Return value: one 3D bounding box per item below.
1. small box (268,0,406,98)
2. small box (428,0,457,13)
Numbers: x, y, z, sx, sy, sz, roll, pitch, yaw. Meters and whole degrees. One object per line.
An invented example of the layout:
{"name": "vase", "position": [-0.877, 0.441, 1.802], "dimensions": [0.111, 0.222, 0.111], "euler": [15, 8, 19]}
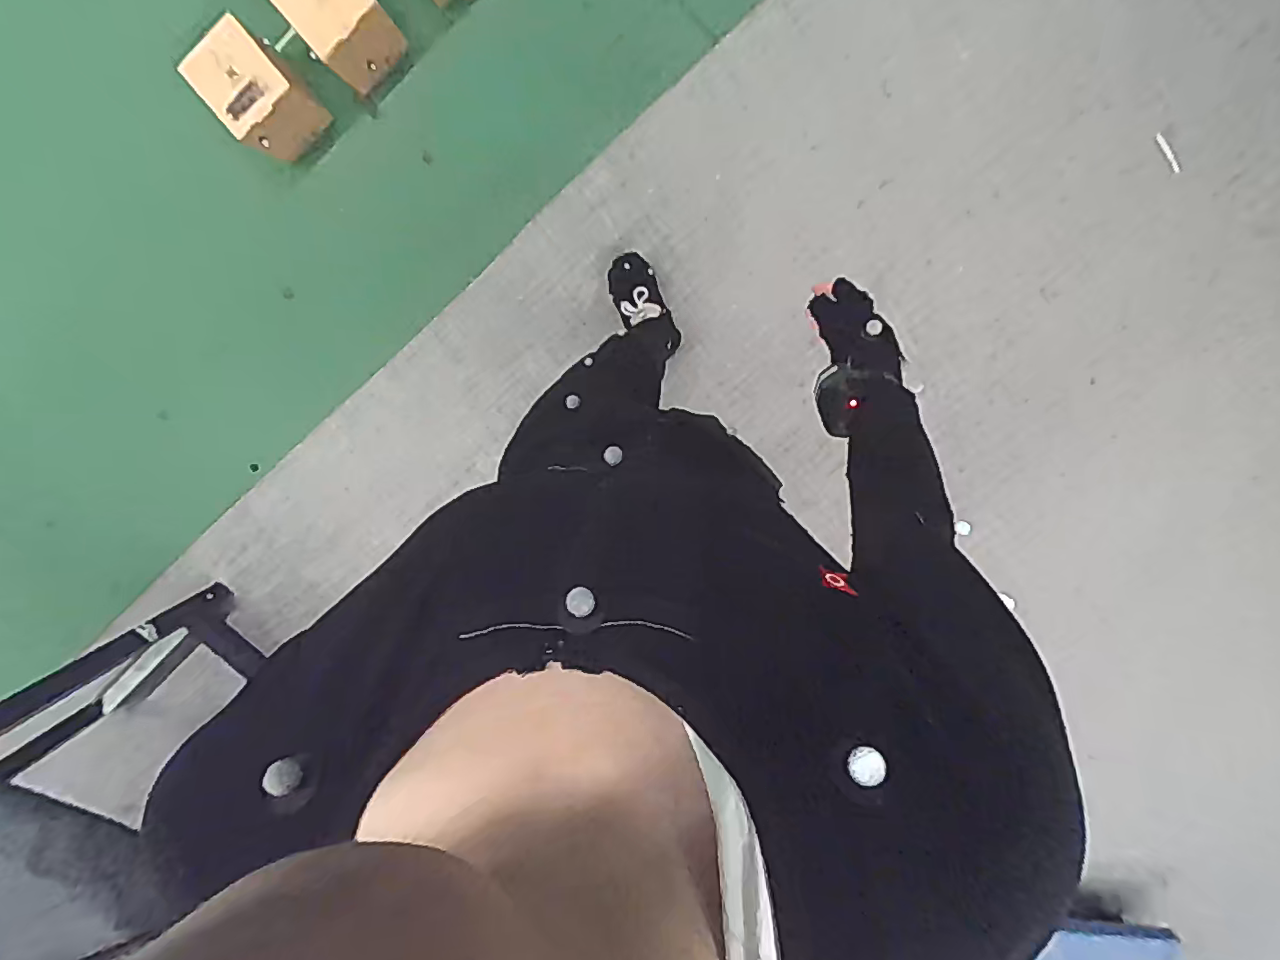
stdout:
{"name": "small box", "position": [-0.651, -0.989, 1.173], "dimensions": [0.168, 0.176, 0.179], "euler": [-40, 101, 8]}
{"name": "small box", "position": [-0.436, -1.157, 1.134], "dimensions": [0.179, 0.176, 0.168], "euler": [-38, 100, 7]}
